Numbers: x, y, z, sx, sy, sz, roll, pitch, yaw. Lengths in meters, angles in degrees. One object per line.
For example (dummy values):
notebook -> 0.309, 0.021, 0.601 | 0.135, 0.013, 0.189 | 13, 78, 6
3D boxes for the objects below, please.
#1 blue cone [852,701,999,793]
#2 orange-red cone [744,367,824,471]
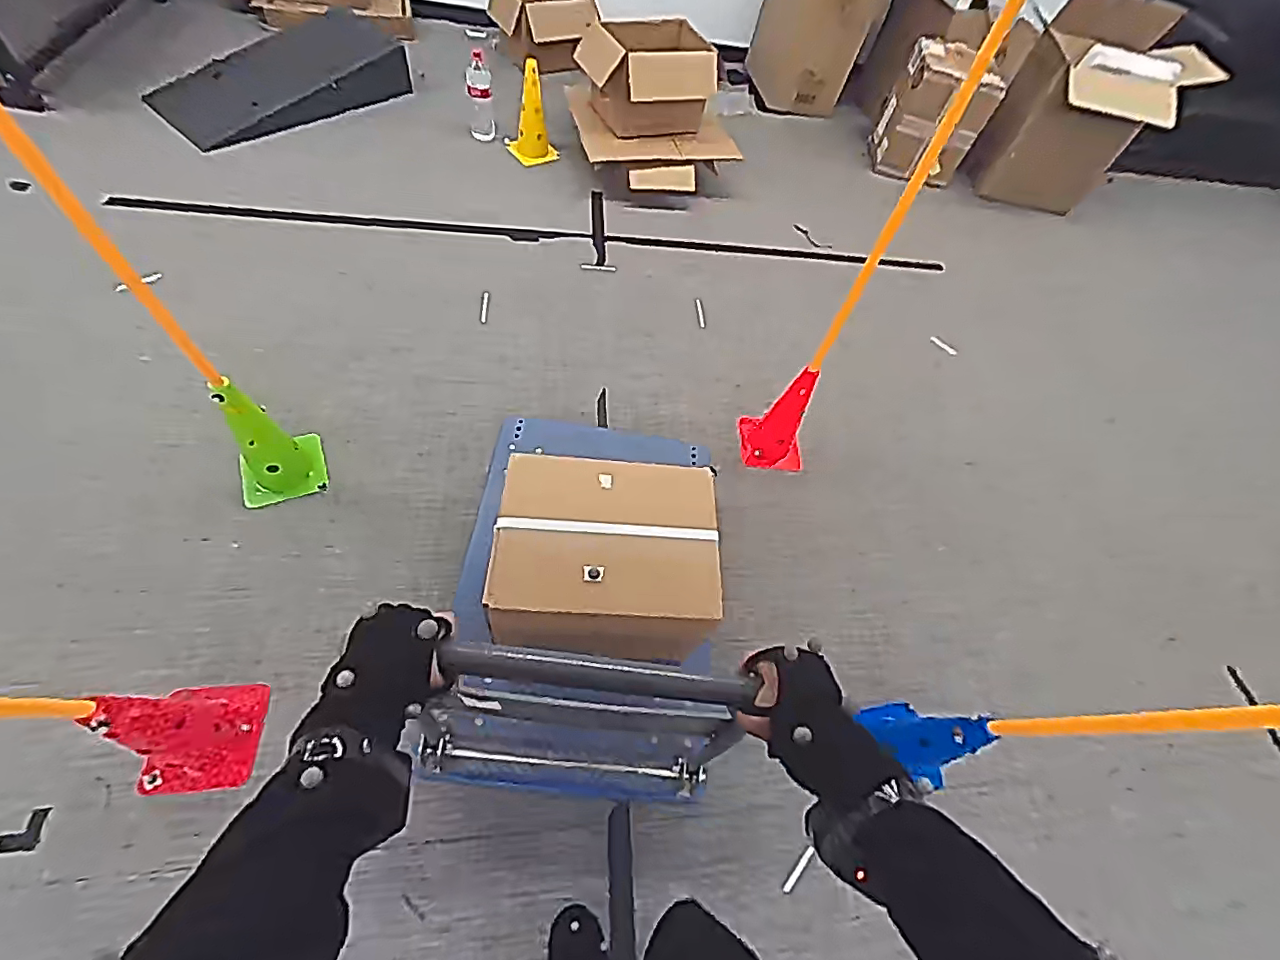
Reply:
blue cone -> 0.656, 0.567, 1.196 | 0.193, 0.380, 0.192 | -2, 58, -12
orange-red cone -> 0.466, -0.208, 1.635 | 0.199, 0.360, 0.198 | 7, 58, -7
